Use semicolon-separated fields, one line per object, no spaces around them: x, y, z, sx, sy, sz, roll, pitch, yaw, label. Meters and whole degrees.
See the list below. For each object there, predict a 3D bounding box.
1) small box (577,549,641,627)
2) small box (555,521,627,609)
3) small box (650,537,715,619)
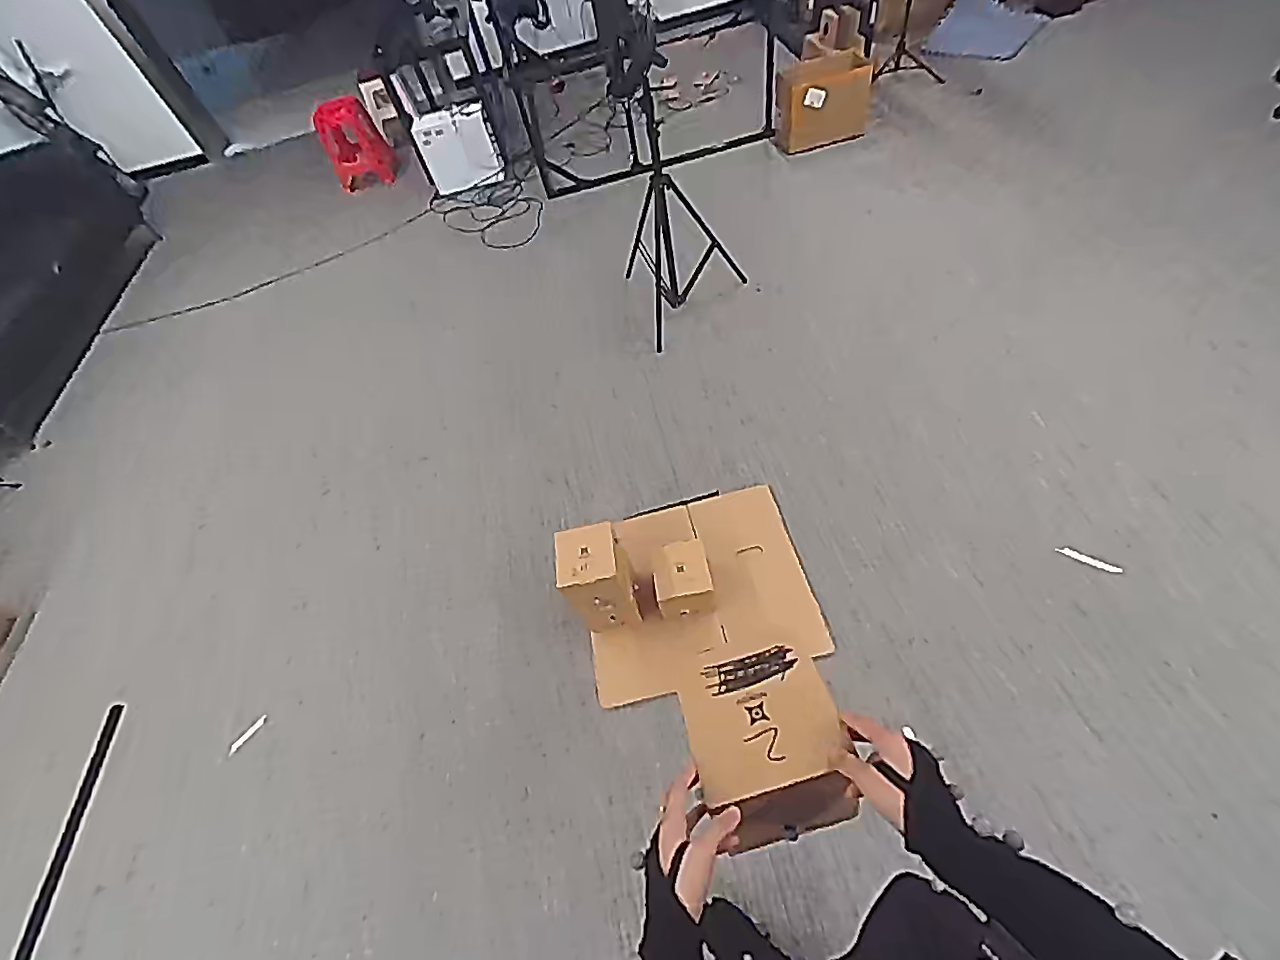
-0.098;0.340;1.661;0.168;0.176;0.179;-13;54;4;small box
-0.138;0.243;1.533;0.168;0.176;0.179;-13;54;4;small box
0.129;0.301;1.640;0.168;0.176;0.179;-11;54;4;small box
